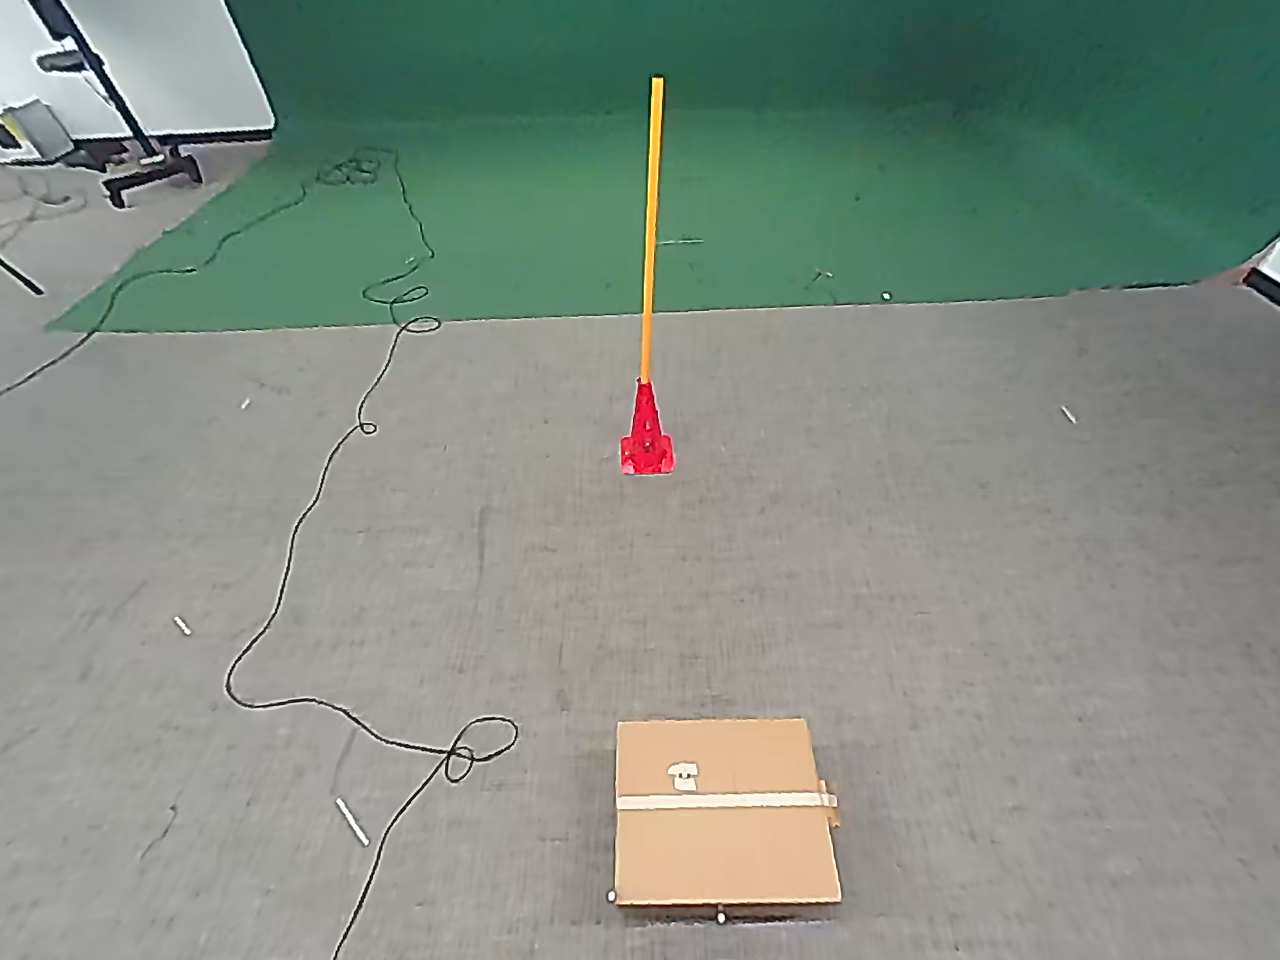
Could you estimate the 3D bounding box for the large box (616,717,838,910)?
[{"bbox_3d":[0.161,0.729,1.173,0.408,0.320,0.320,-2,48,2],"label":"large box"}]
